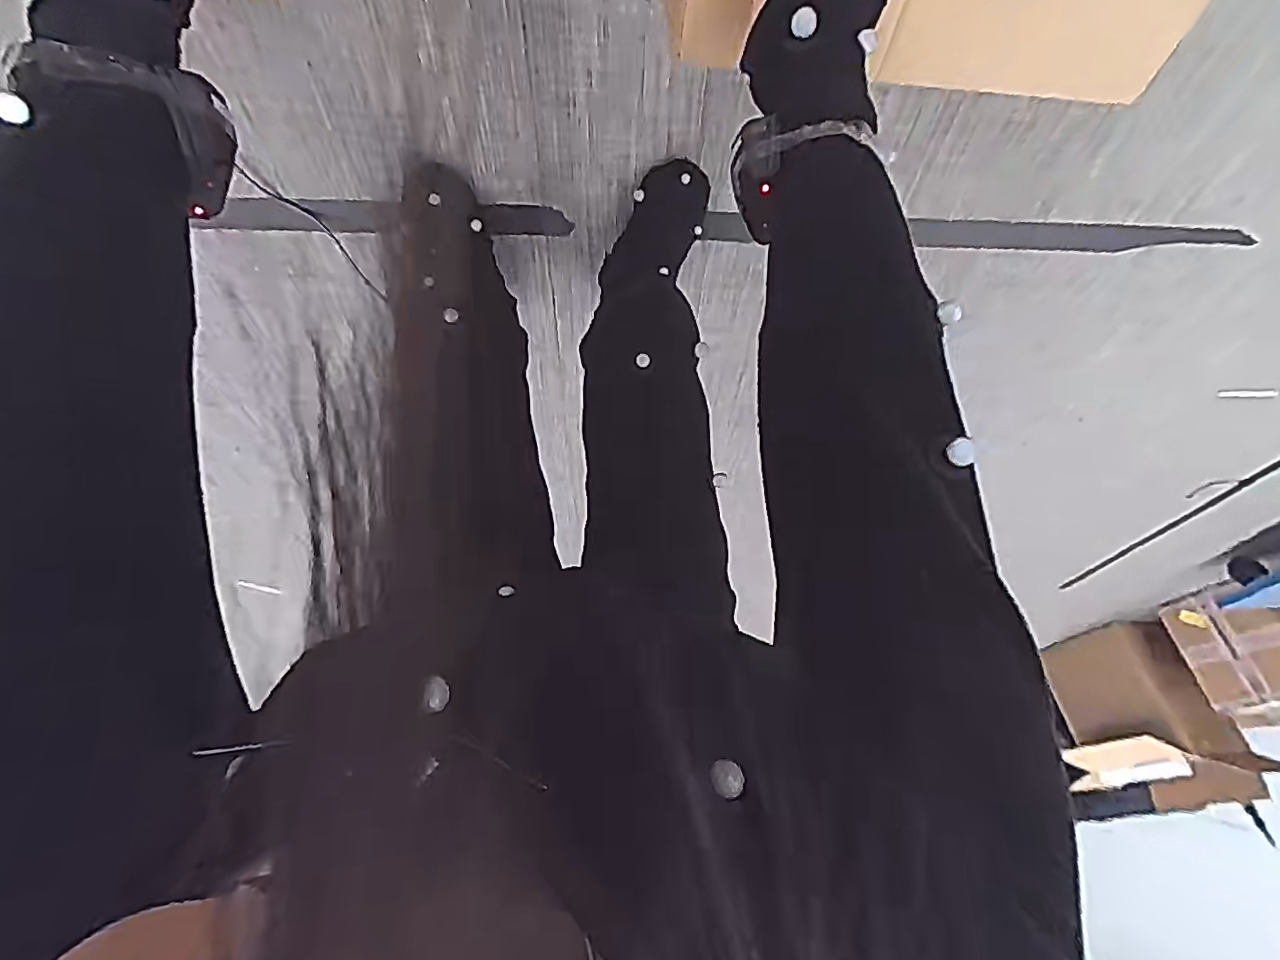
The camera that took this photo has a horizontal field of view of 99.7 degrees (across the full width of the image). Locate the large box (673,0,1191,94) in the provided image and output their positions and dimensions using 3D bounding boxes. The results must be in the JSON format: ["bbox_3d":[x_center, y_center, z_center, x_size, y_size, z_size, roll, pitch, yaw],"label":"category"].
[{"bbox_3d":[0.237,-0.552,0.424,0.408,0.320,0.320,0,146,-7],"label":"large box"}]
